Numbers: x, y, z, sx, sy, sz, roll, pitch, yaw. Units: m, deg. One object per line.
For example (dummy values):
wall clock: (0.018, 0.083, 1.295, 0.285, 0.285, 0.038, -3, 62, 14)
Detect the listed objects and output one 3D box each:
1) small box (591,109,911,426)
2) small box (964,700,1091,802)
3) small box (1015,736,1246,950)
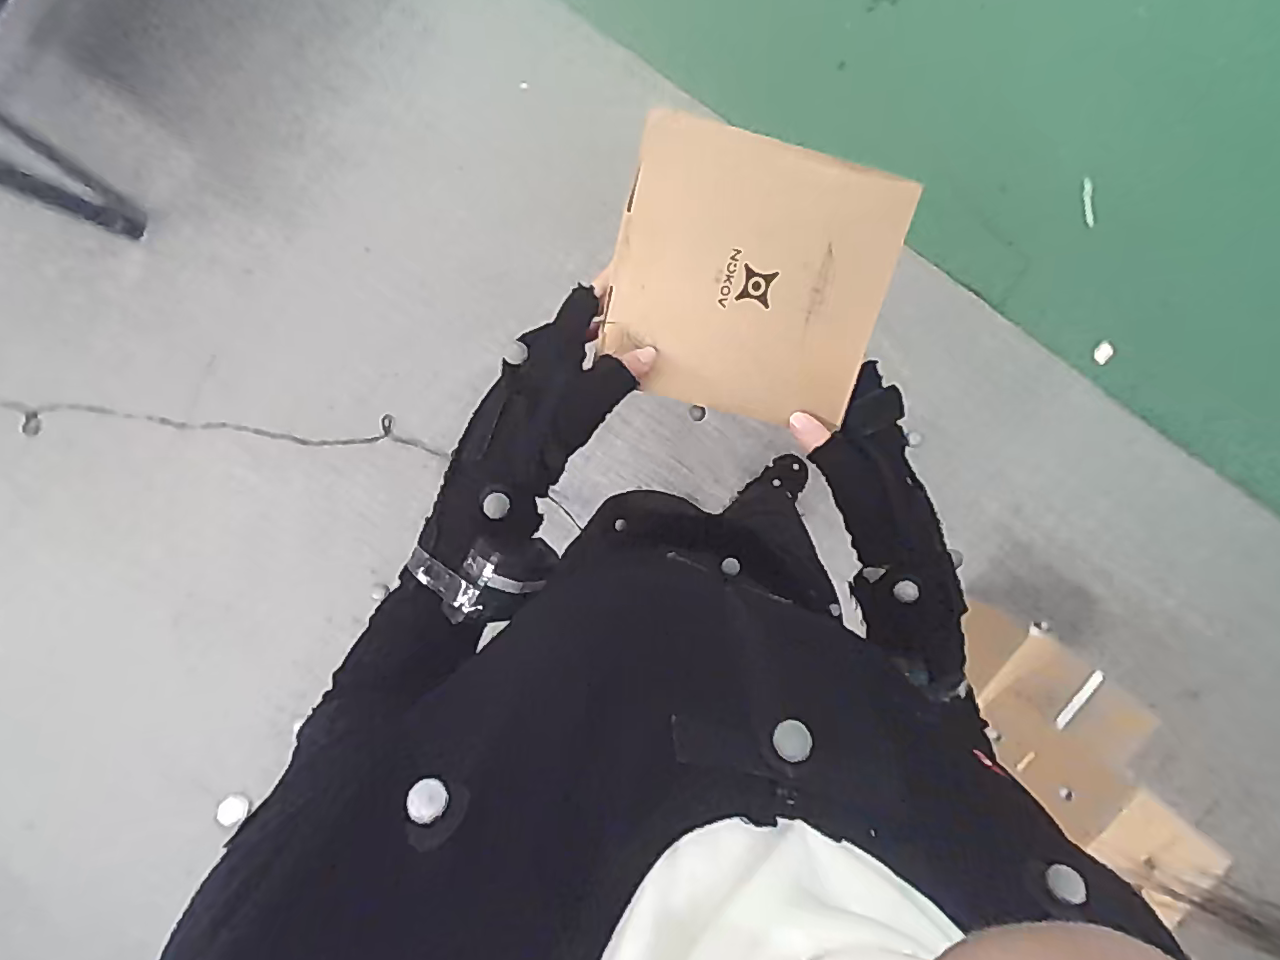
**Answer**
small box: (0.065, -0.150, 0.423, 0.179, 0.176, 0.168, 10, 106, -5)
small box: (0.755, 0.539, 1.004, 0.179, 0.176, 0.168, 41, 94, 4)
small box: (0.734, 0.547, 0.840, 0.168, 0.176, 0.179, 40, 93, 3)
